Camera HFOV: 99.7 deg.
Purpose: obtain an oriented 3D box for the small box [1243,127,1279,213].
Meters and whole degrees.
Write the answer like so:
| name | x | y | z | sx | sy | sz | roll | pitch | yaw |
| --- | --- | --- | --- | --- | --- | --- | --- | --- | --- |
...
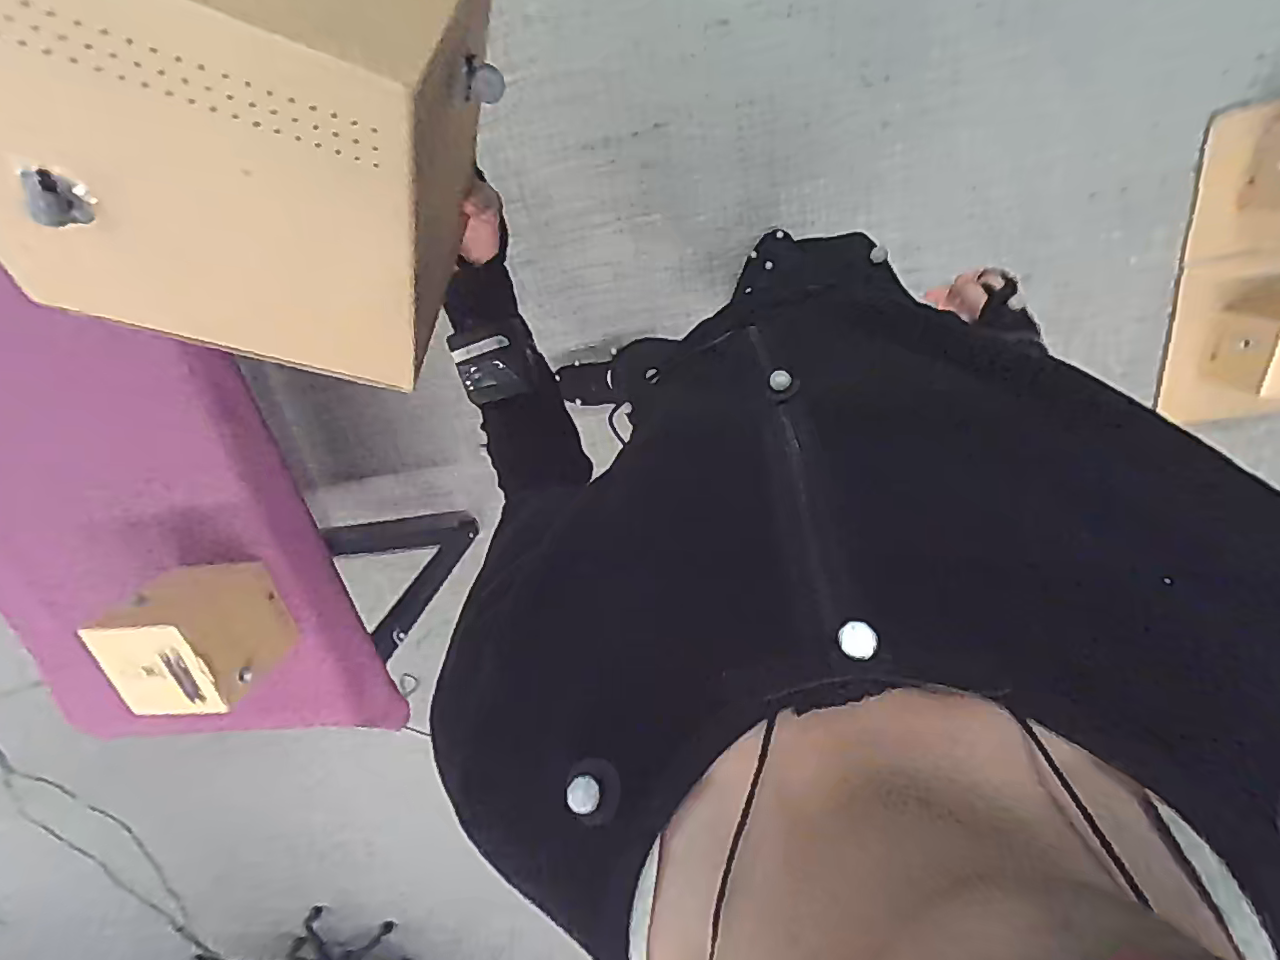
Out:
| name | x | y | z | sx | sy | sz | roll | pitch | yaw |
| --- | --- | --- | --- | --- | --- | --- | --- | --- | --- |
| small box | 1.378 | -0.628 | 1.066 | 0.179 | 0.176 | 0.168 | -4 | 114 | 7 |

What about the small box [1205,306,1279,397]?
| name | x | y | z | sx | sy | sz | roll | pitch | yaw |
| --- | --- | --- | --- | --- | --- | --- | --- | --- | --- |
| small box | 1.443 | -0.292 | 1.208 | 0.179 | 0.176 | 0.168 | -5 | 114 | 7 |

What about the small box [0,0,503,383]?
| name | x | y | z | sx | sy | sz | roll | pitch | yaw |
| --- | --- | --- | --- | --- | --- | --- | --- | --- | --- |
| small box | -0.168 | -0.178 | 0.250 | 0.179 | 0.168 | 0.176 | 12 | 149 | -17 |
